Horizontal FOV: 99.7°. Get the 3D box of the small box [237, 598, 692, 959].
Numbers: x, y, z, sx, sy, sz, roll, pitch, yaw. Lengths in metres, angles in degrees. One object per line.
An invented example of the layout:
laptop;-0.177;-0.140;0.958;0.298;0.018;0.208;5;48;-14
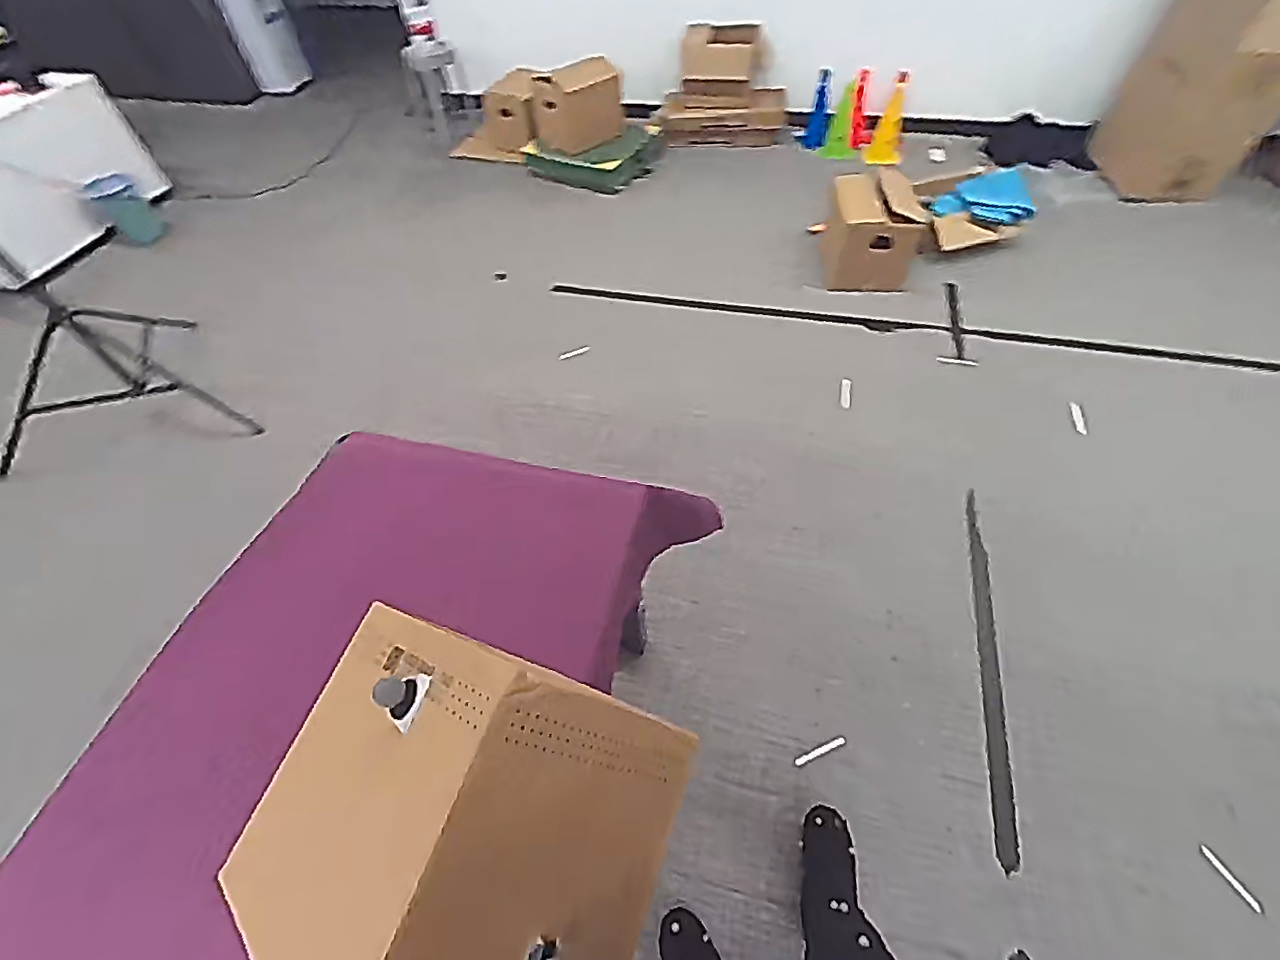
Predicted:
small box;-0.093;0.192;0.335;0.168;0.179;0.176;1;60;44
